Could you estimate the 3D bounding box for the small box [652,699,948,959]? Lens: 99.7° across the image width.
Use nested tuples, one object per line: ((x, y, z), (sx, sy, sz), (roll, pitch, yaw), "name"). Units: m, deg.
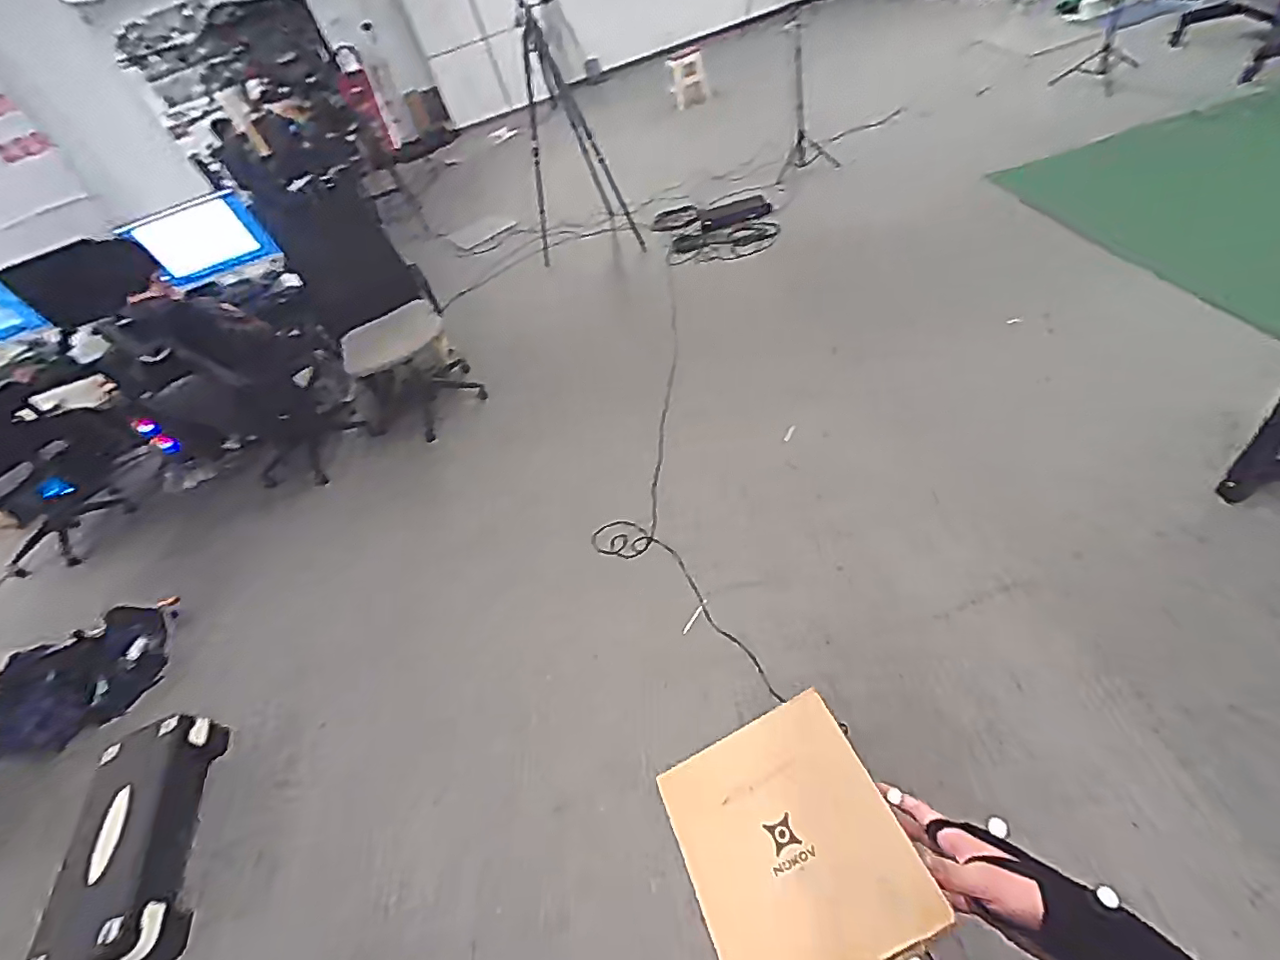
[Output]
((0.139, 0.329, 0.471), (0.168, 0.176, 0.179), (-32, 45, 4), "small box")
